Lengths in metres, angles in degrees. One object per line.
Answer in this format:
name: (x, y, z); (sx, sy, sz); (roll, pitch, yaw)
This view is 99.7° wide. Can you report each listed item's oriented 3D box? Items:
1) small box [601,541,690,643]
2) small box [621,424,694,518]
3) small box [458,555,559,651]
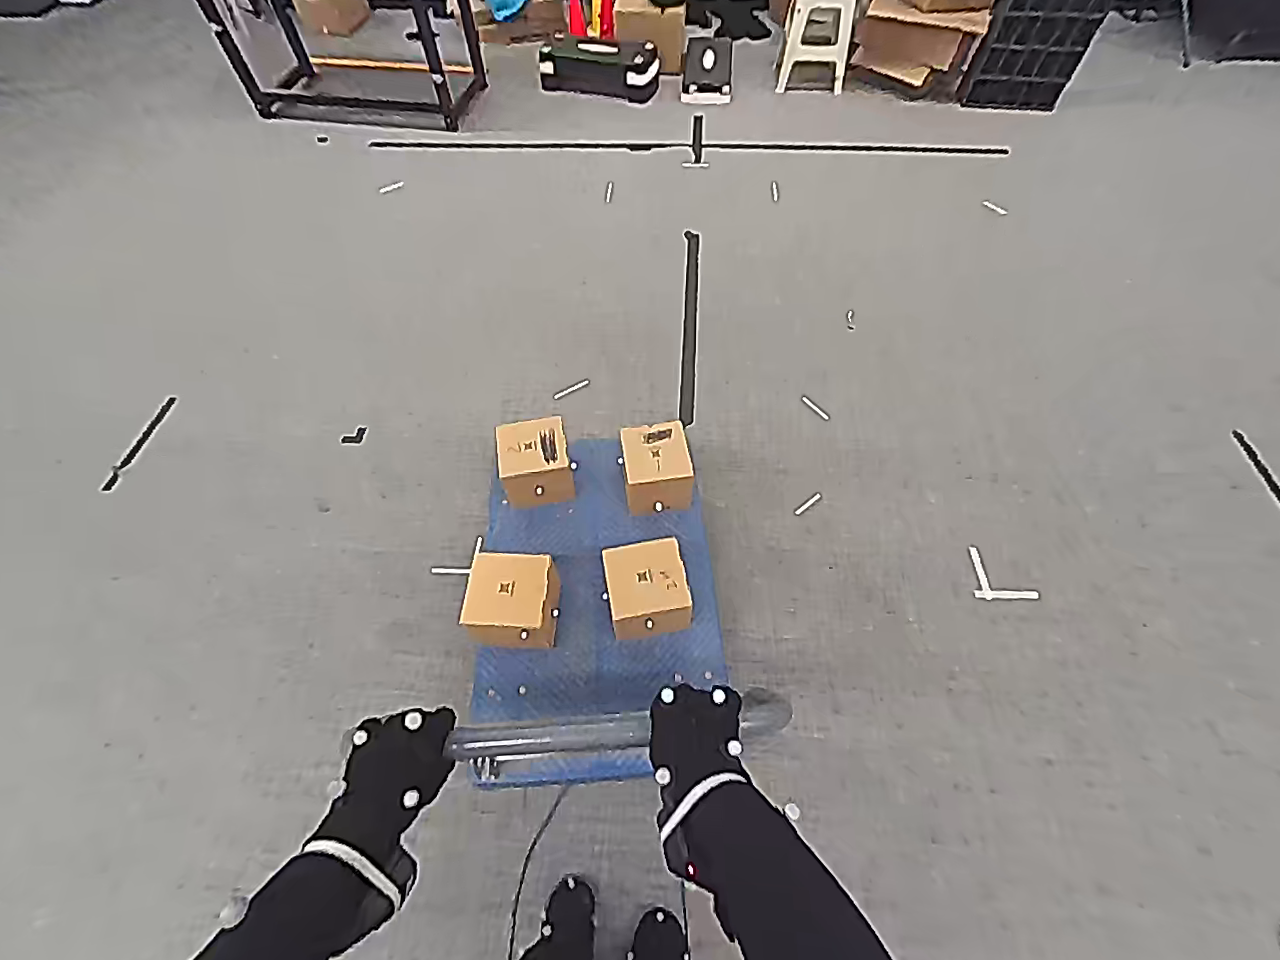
small box: (0.012, 0.262, 1.243); (0.179, 0.176, 0.168); (-9, 58, -4)
small box: (0.041, -0.022, 1.424); (0.168, 0.176, 0.179); (-7, 58, -3)
small box: (-0.291, 0.284, 1.235); (0.179, 0.176, 0.168); (3, 57, 1)
